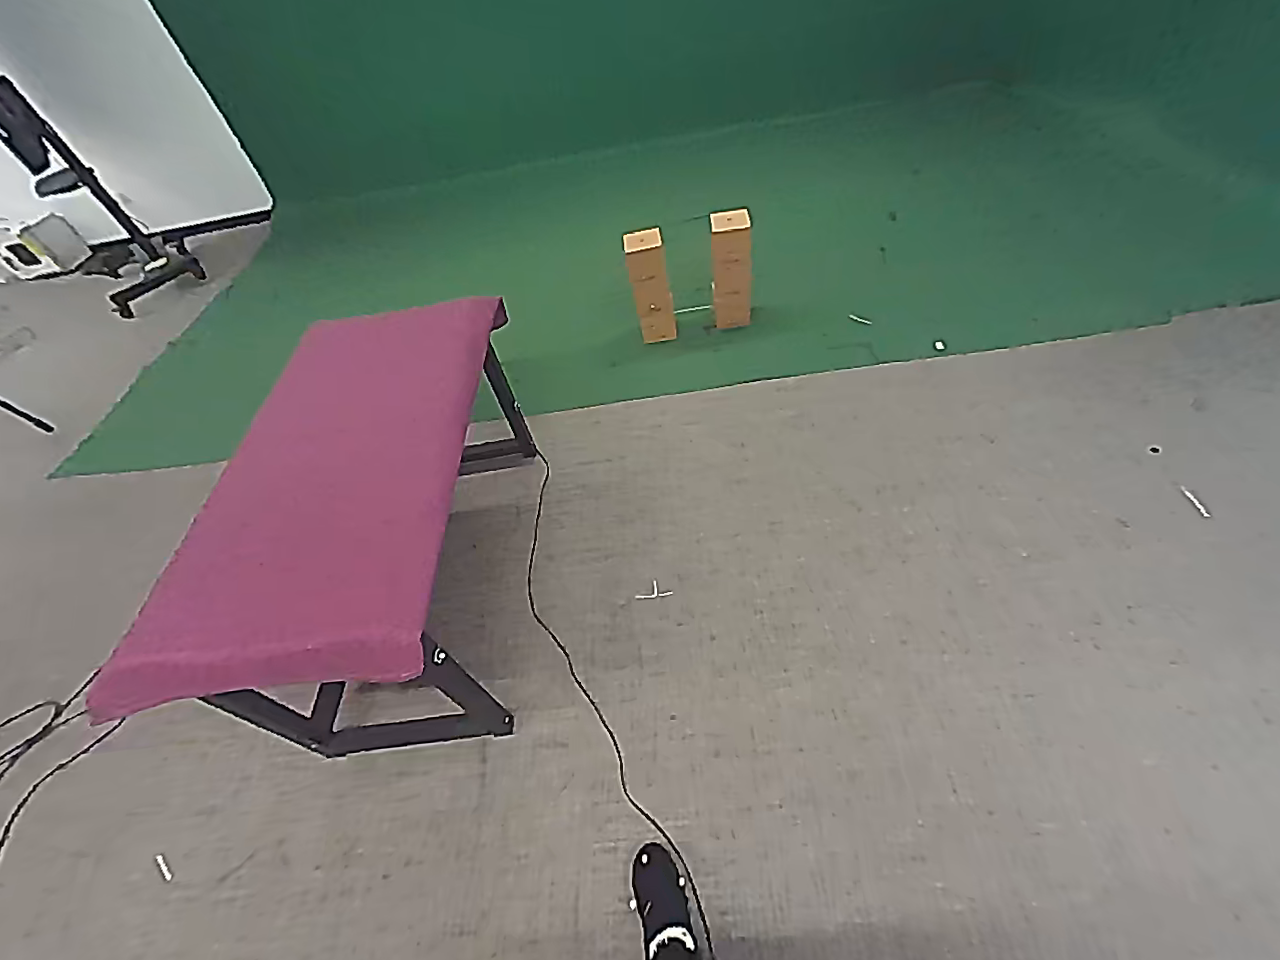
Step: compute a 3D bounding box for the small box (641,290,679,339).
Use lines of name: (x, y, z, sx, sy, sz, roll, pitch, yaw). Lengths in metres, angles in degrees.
small box: (0.100, -0.820, 2.699, 0.168, 0.176, 0.179, -7, 49, 6)

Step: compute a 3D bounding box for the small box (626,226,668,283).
small box: (0.033, -1.021, 2.450, 0.168, 0.176, 0.179, -10, 49, 5)

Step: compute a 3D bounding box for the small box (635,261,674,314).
small box: (0.066, -0.919, 2.572, 0.168, 0.176, 0.179, -9, 49, 5)

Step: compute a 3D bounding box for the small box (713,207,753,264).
small box: (0.416, -1.097, 2.430, 0.168, 0.176, 0.179, -4, 51, 8)

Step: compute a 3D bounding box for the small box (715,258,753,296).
small box: (0.443, -0.996, 2.557, 0.168, 0.176, 0.179, -4, 49, 8)
